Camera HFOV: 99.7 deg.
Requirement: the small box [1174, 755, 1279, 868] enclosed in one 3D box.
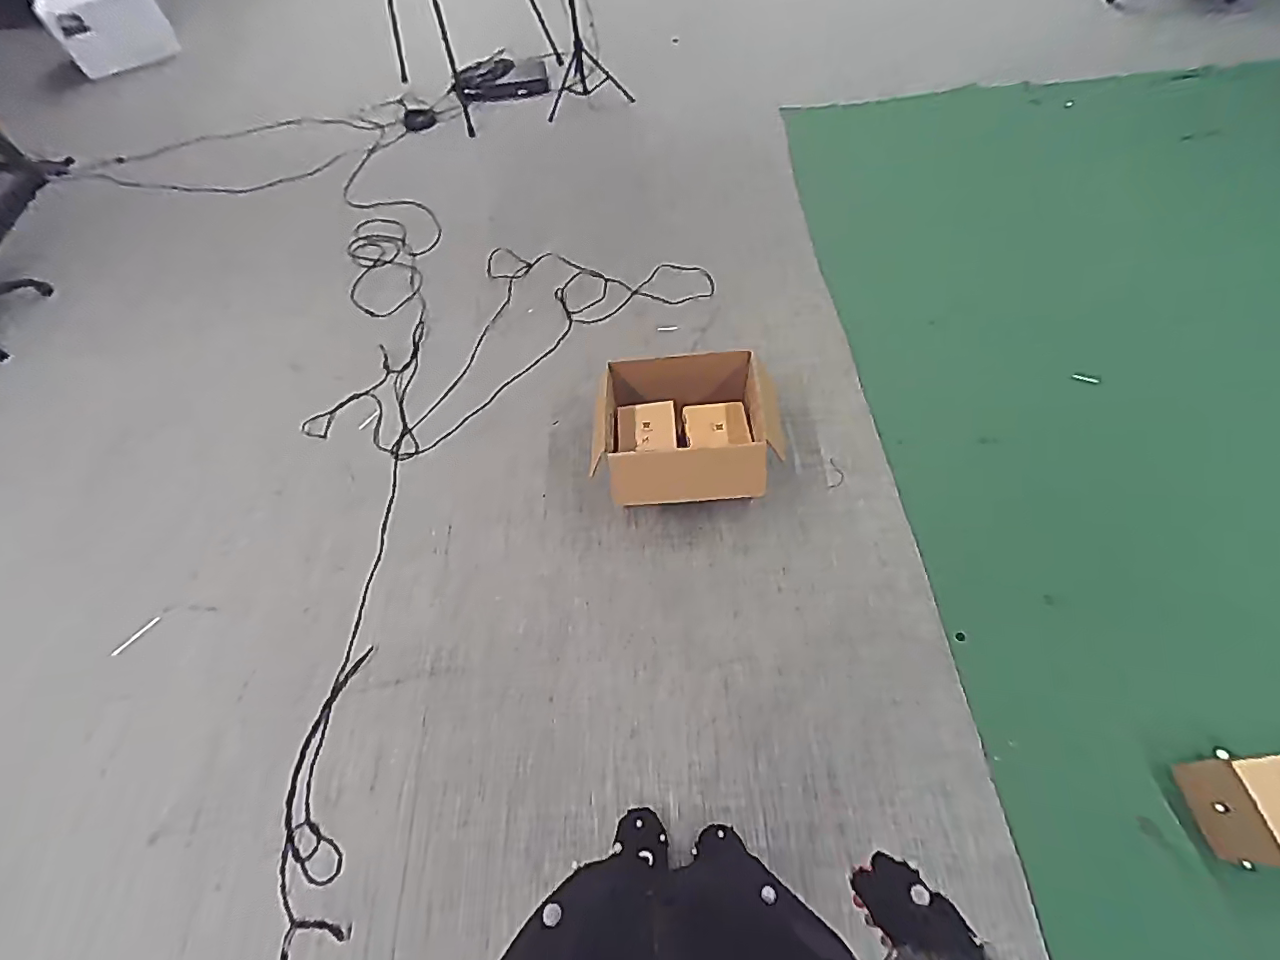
[{"bbox_3d":[1.250,0.654,1.076,0.168,0.176,0.179,-7,59,1],"label":"small box"}]
